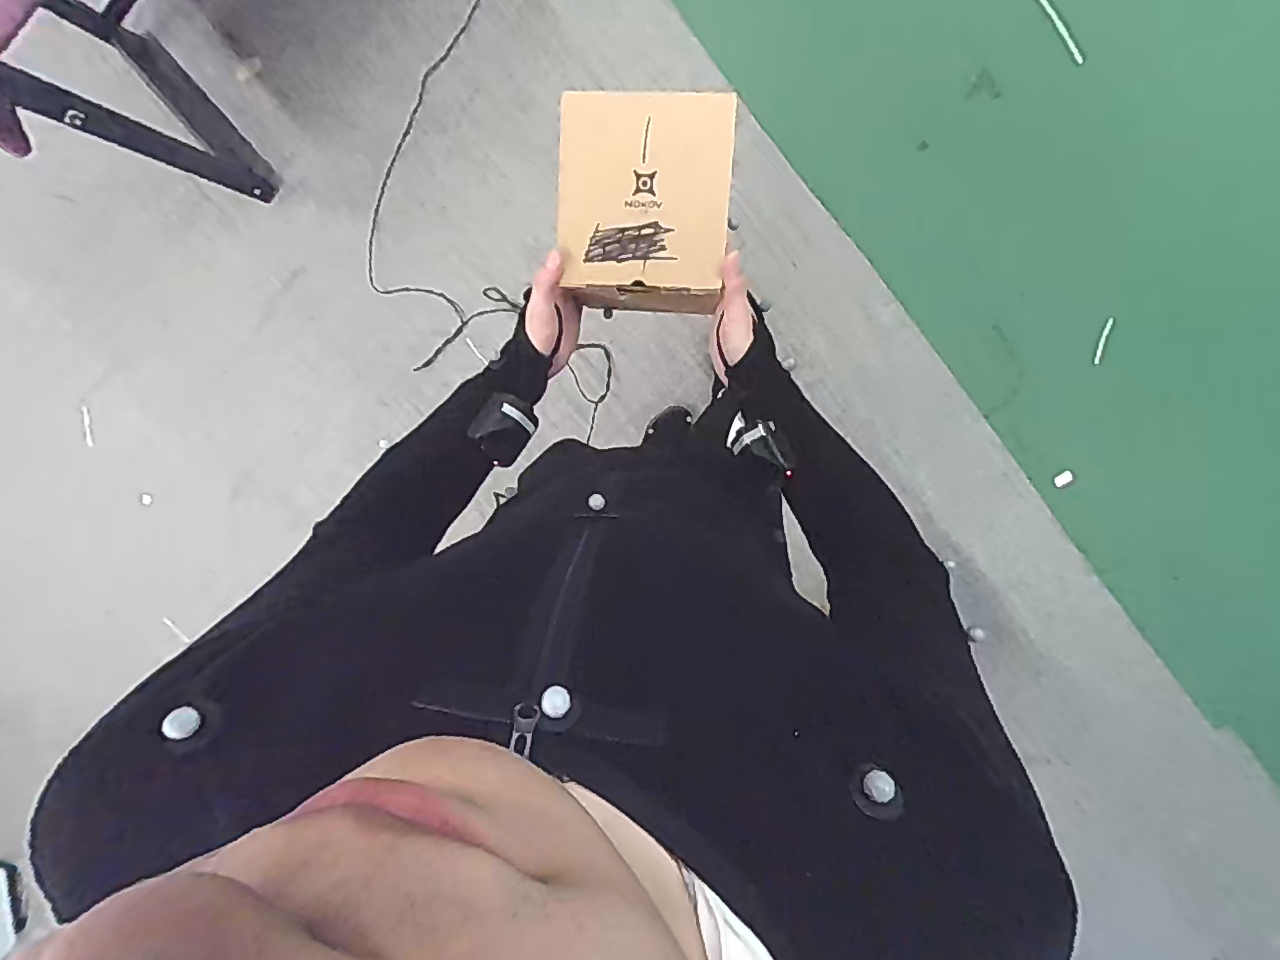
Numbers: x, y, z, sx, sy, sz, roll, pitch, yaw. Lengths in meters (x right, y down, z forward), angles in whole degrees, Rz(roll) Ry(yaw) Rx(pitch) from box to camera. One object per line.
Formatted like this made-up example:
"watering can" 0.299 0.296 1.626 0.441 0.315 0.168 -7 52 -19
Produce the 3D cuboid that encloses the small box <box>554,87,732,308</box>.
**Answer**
"small box" 0.008 -0.288 0.588 0.168 0.176 0.179 3 100 5
